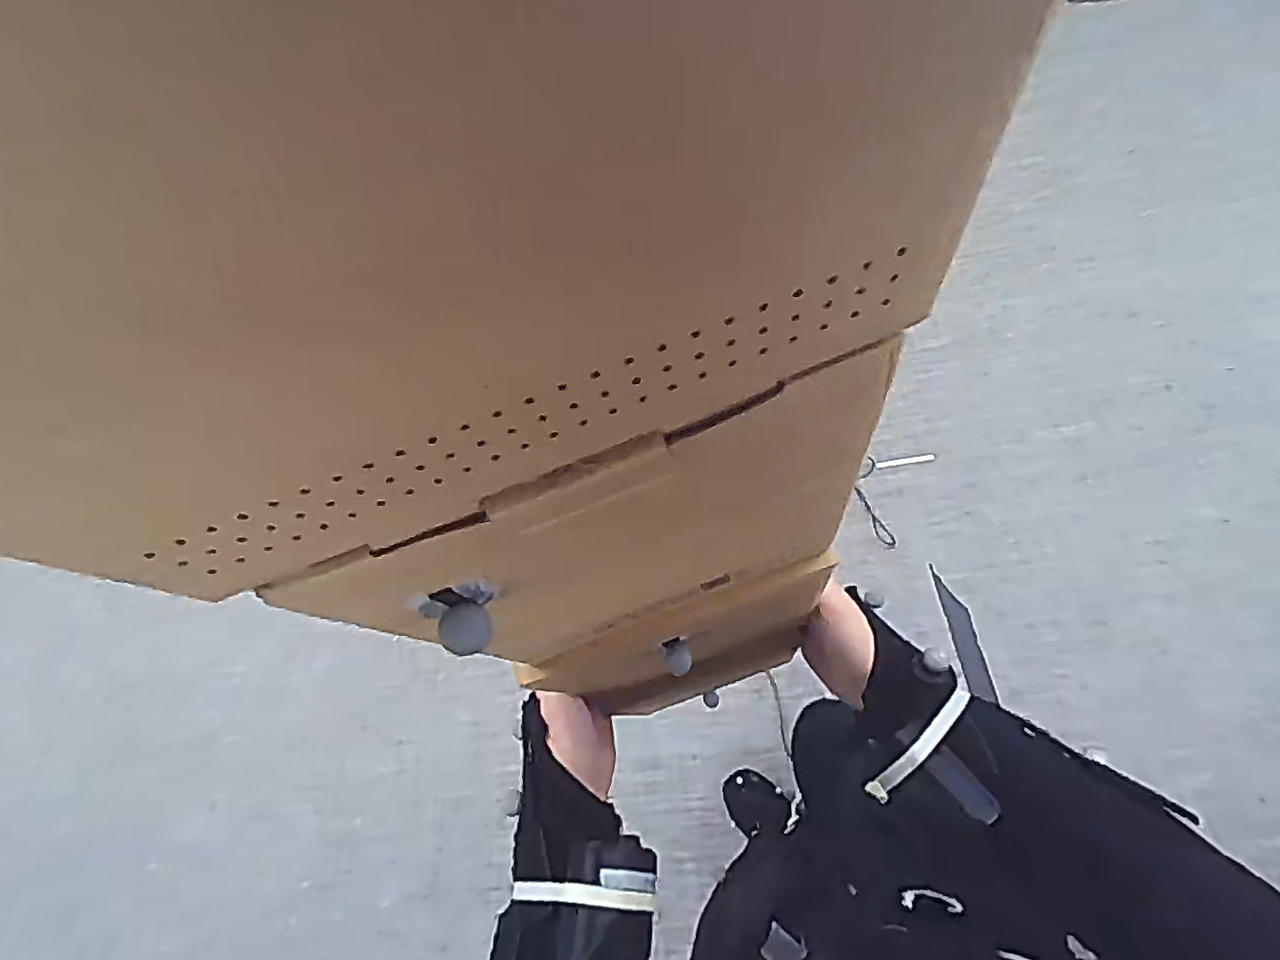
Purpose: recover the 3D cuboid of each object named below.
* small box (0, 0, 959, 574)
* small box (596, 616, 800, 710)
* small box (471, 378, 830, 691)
[{"bbox_3d":[-0.062,-0.104,0.087,0.179,0.176,0.168,-22,63,3],"label":"small box"},{"bbox_3d":[0.036,0.109,0.521,0.168,0.176,0.179,-21,65,3],"label":"small box"},{"bbox_3d":[0.006,0.036,0.379,0.179,0.176,0.168,-22,64,3],"label":"small box"}]
